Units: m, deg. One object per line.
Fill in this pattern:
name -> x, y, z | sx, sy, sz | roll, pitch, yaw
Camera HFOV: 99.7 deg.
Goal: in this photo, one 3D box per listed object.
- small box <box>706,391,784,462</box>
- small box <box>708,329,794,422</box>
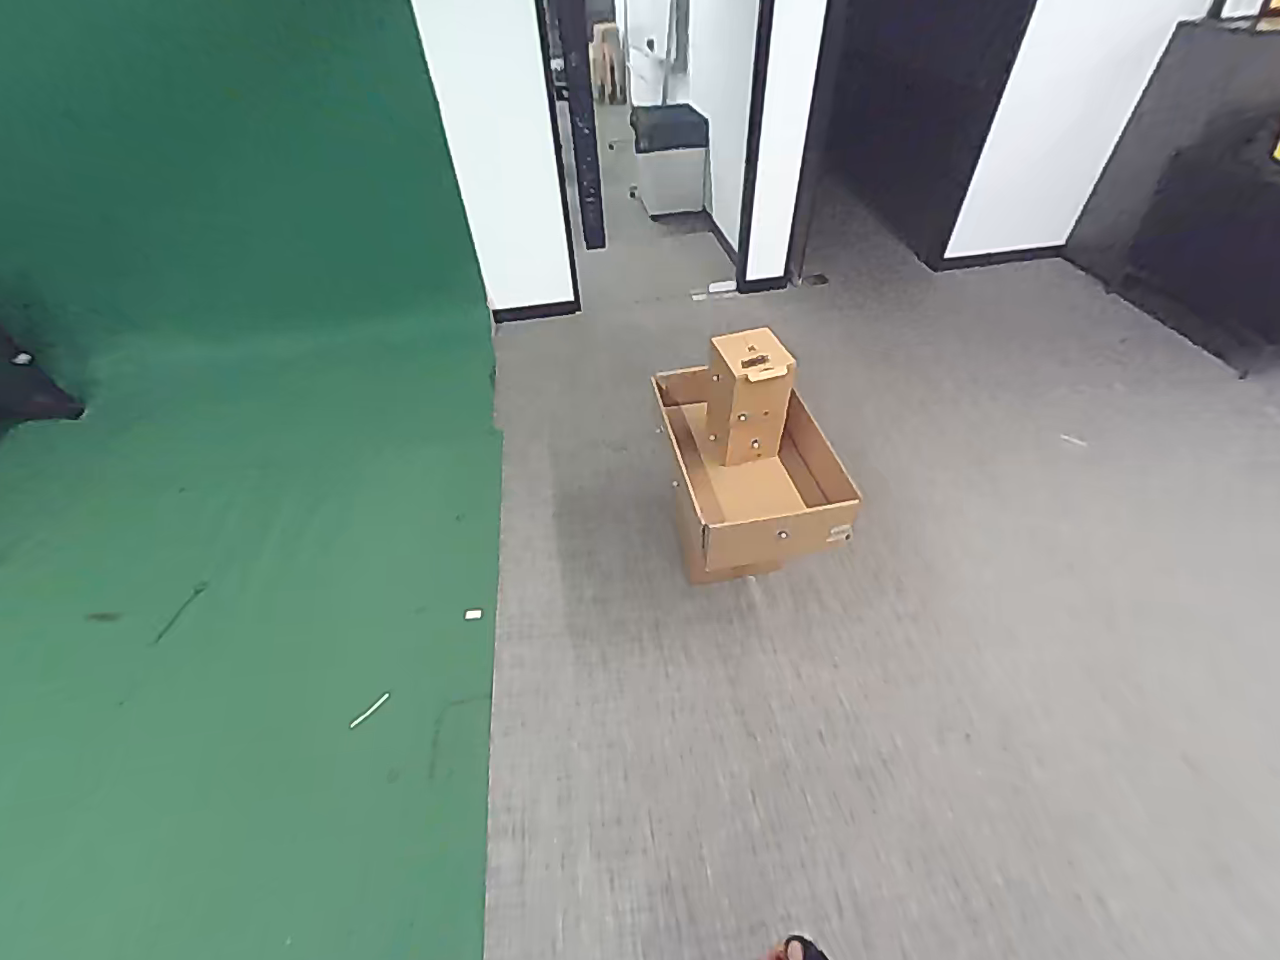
small box -> 0.297, -0.169, 1.564 | 0.168, 0.176, 0.179 | -11, 50, -9
small box -> 0.287, -0.272, 1.436 | 0.168, 0.176, 0.179 | -12, 49, -9
